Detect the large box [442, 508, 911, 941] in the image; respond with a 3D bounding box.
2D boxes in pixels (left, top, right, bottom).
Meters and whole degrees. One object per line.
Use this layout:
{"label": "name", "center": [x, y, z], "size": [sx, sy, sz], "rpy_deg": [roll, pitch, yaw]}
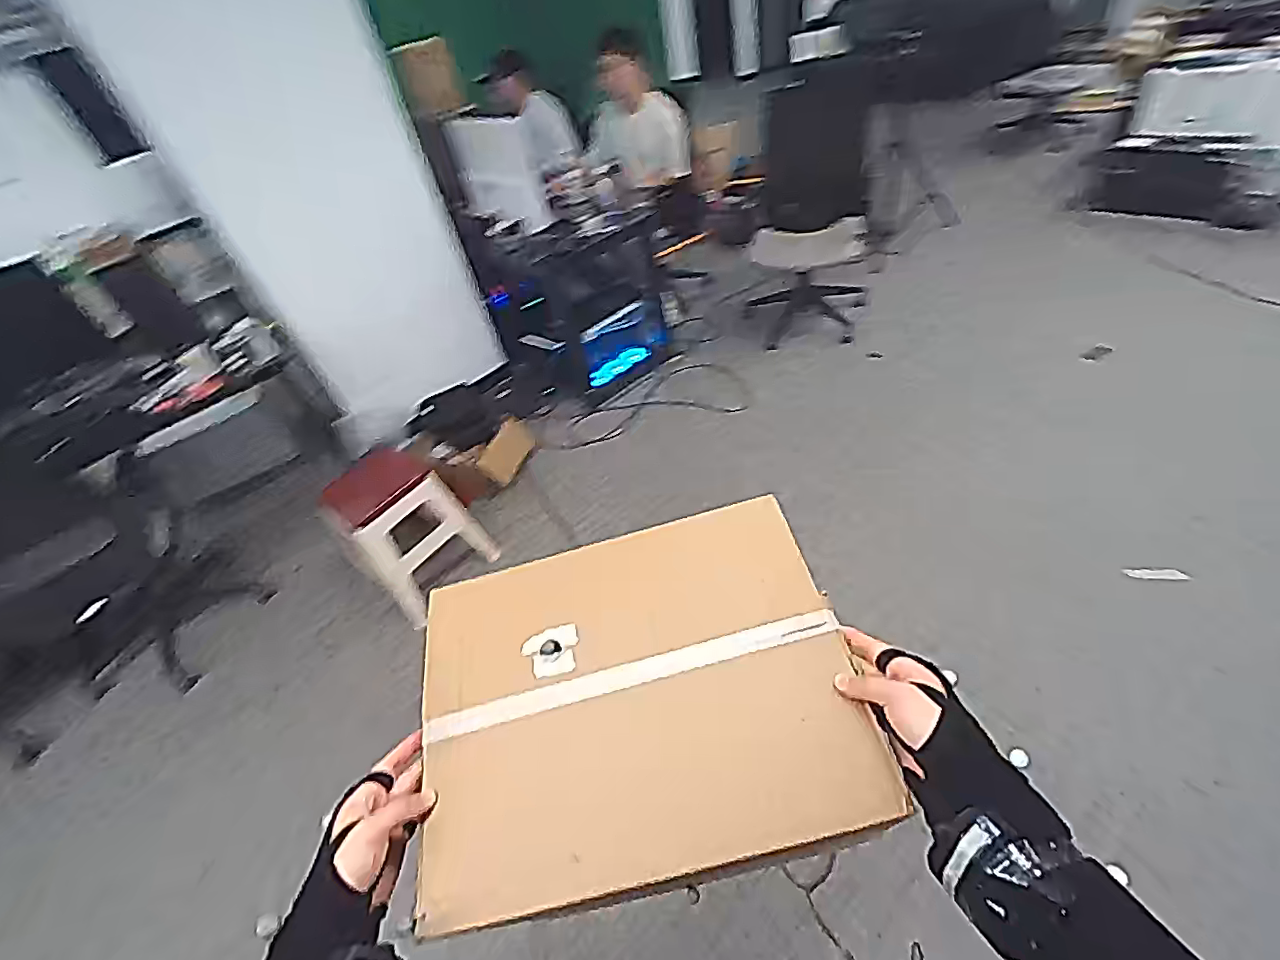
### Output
{"label": "large box", "center": [0.031, 0.289, 0.641], "size": [0.408, 0.320, 0.320], "rpy_deg": [-17, 51, 3]}
